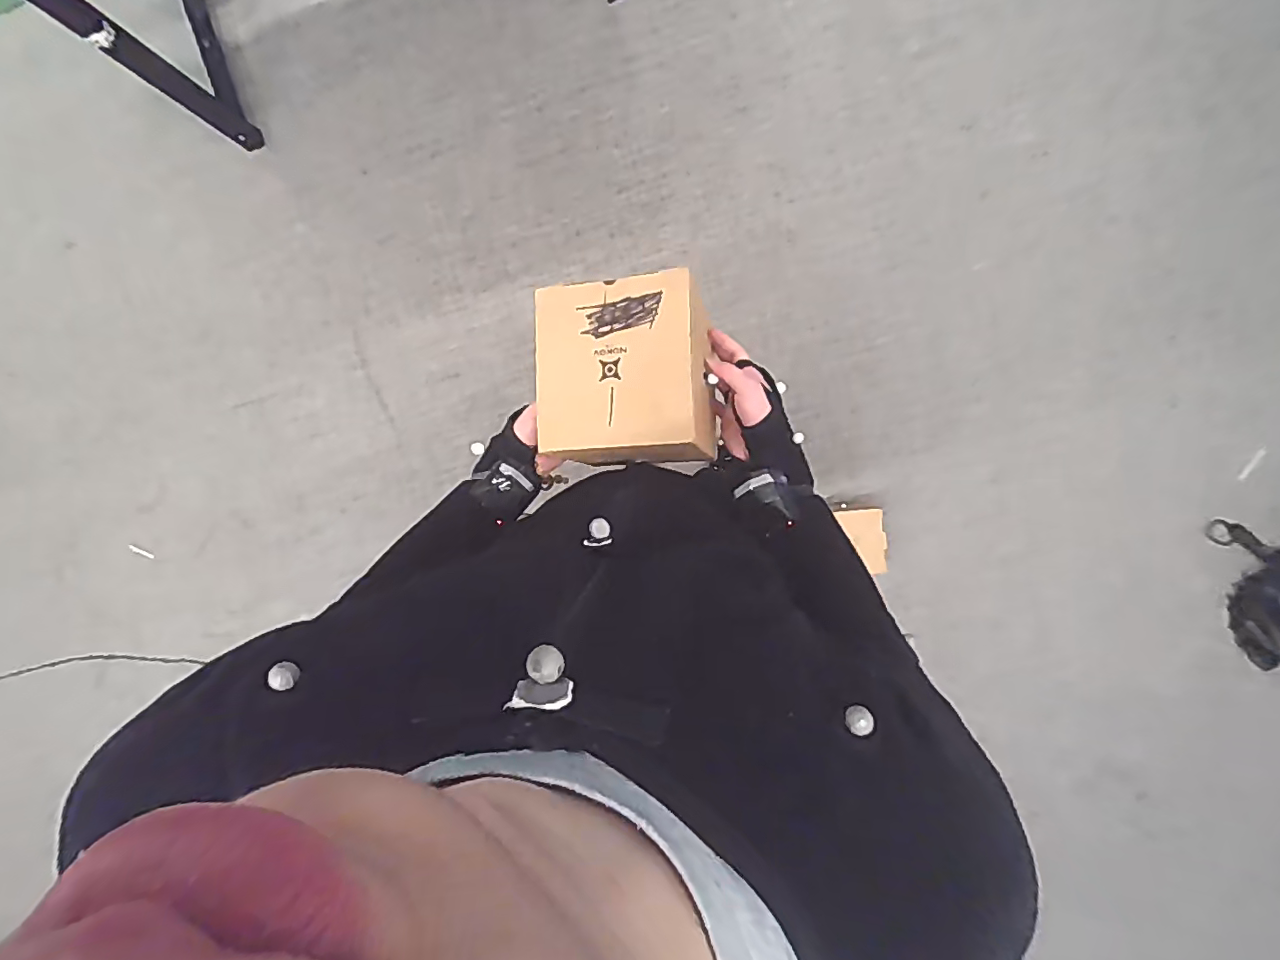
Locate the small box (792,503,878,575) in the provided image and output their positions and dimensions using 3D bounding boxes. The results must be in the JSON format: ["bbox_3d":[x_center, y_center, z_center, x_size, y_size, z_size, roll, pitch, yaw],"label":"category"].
[{"bbox_3d":[0.522,0.156,1.465,0.179,0.176,0.168,-5,91,5],"label":"small box"}]
